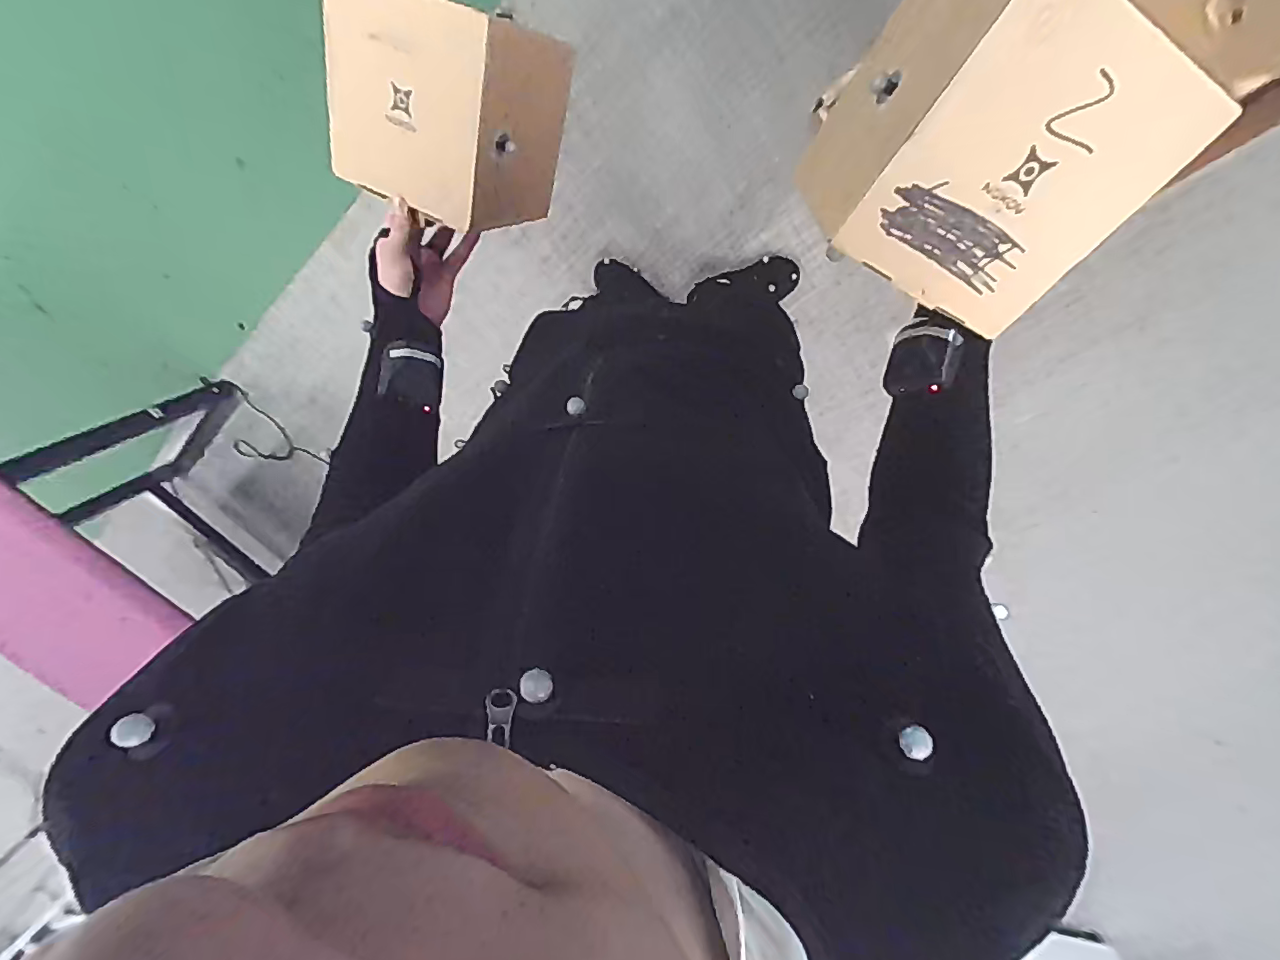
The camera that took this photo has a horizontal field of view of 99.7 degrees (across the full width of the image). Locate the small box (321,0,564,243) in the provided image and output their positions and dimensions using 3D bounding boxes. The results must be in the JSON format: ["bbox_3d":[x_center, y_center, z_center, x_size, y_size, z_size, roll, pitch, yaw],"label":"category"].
[{"bbox_3d":[-0.198,-0.377,0.568,0.168,0.176,0.179,25,126,6],"label":"small box"}]

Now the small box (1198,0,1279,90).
[{"bbox_3d":[0.642,-0.475,0.461,0.179,0.176,0.168,-21,112,21],"label":"small box"}]
